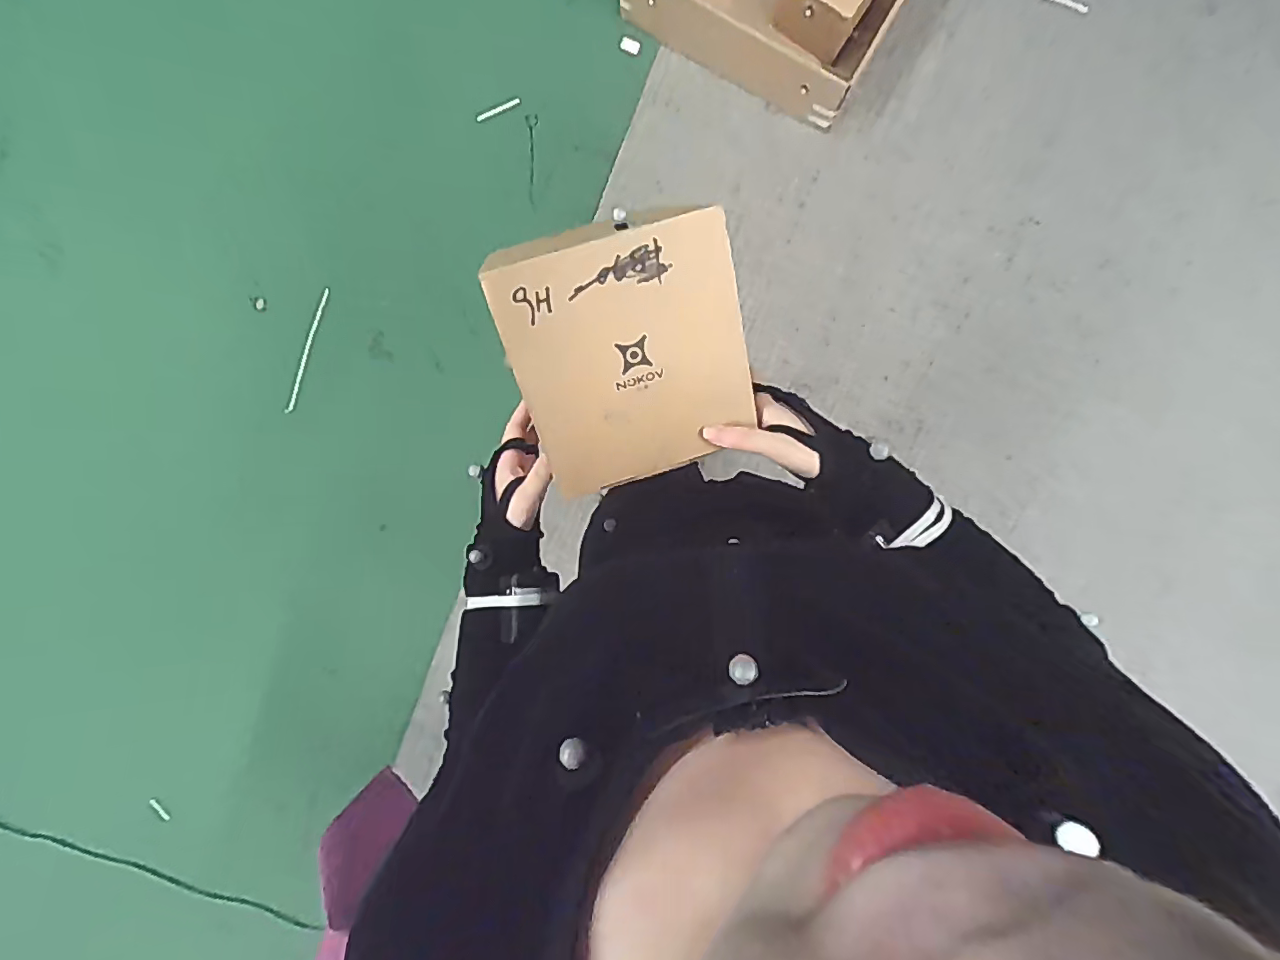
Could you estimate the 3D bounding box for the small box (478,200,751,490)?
[{"bbox_3d":[-0.022,-0.122,0.455,0.168,0.176,0.179,-18,119,-4],"label":"small box"}]
